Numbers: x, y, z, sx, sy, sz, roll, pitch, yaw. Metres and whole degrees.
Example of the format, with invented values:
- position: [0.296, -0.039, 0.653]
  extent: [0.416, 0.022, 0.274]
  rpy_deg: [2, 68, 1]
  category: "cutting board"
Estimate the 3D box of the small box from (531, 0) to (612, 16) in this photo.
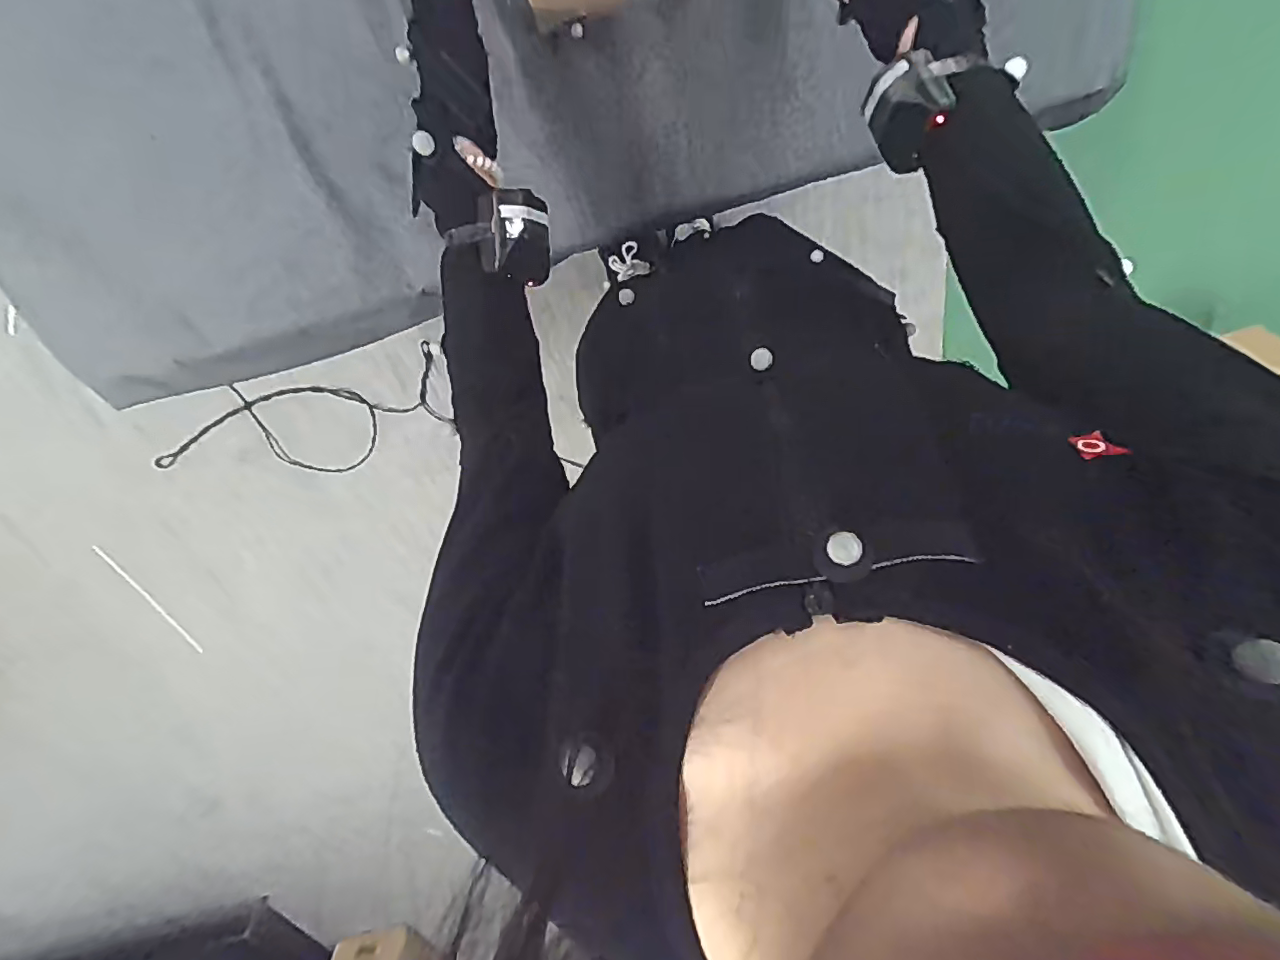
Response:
- position: [-0.035, -0.485, 0.403]
  extent: [0.168, 0.176, 0.179]
  rpy_deg: [-16, 119, 5]
  category: "small box"
